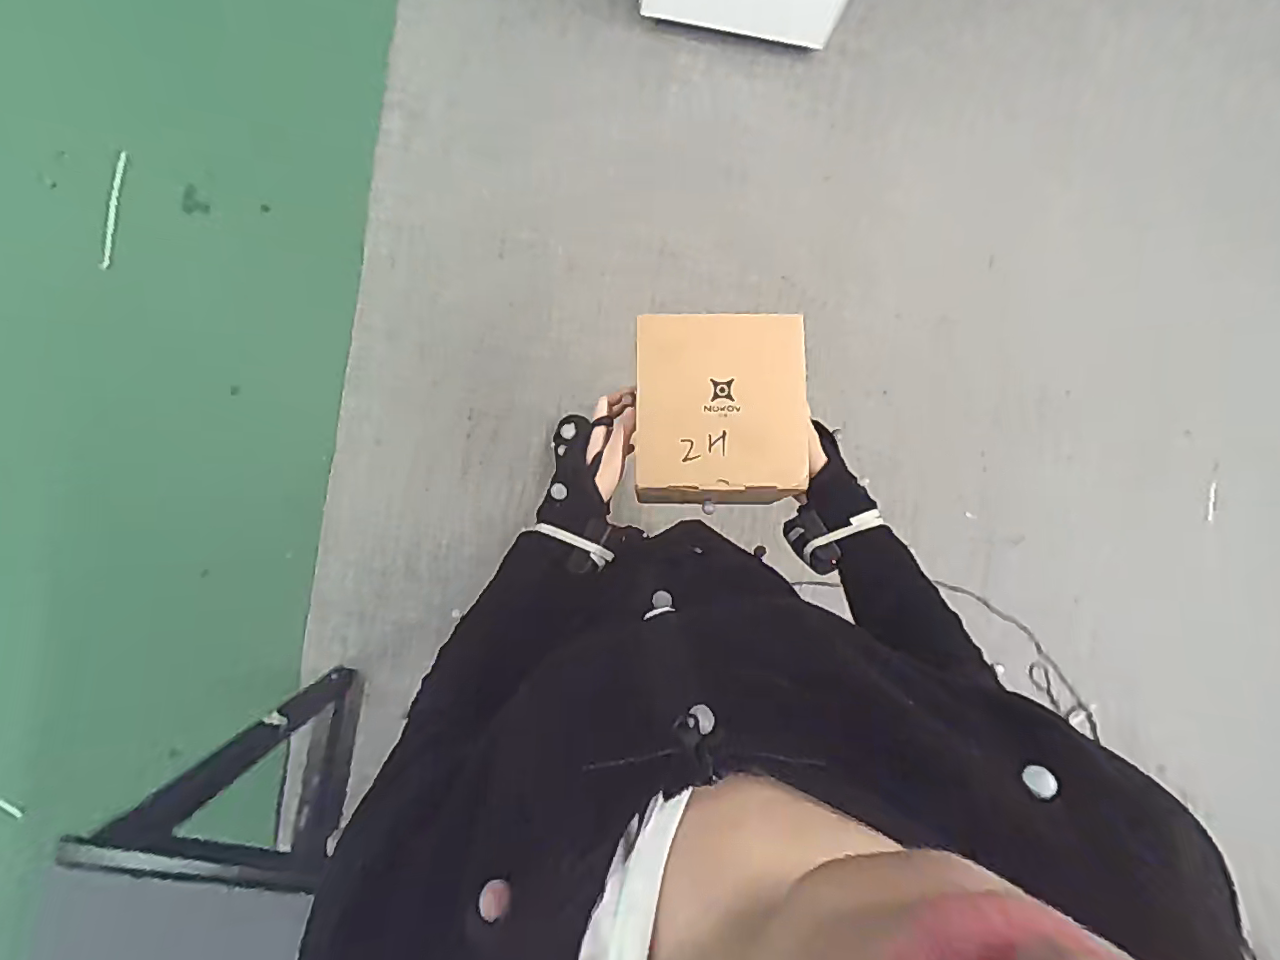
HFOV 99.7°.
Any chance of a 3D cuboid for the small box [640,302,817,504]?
[{"bbox_3d":[0.085,-0.073,0.592,0.168,0.176,0.179,1,81,1],"label":"small box"}]
